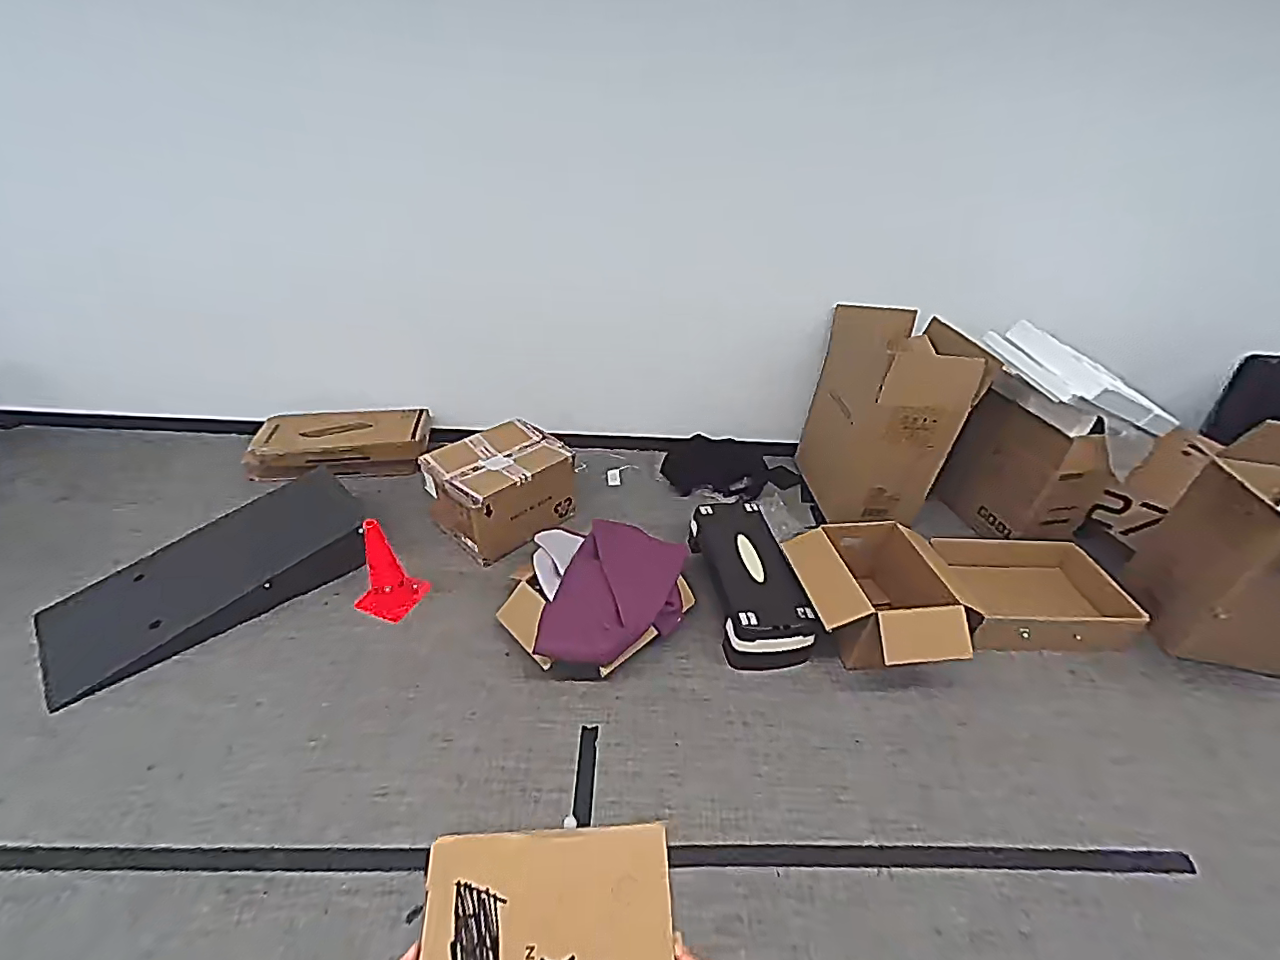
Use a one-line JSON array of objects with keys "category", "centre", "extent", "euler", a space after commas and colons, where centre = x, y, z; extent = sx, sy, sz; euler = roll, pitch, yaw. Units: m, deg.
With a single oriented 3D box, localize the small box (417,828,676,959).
[{"category": "small box", "centre": [-0.063, 0.378, 0.417], "extent": [0.179, 0.176, 0.168], "euler": [-2, 53, -3]}]
